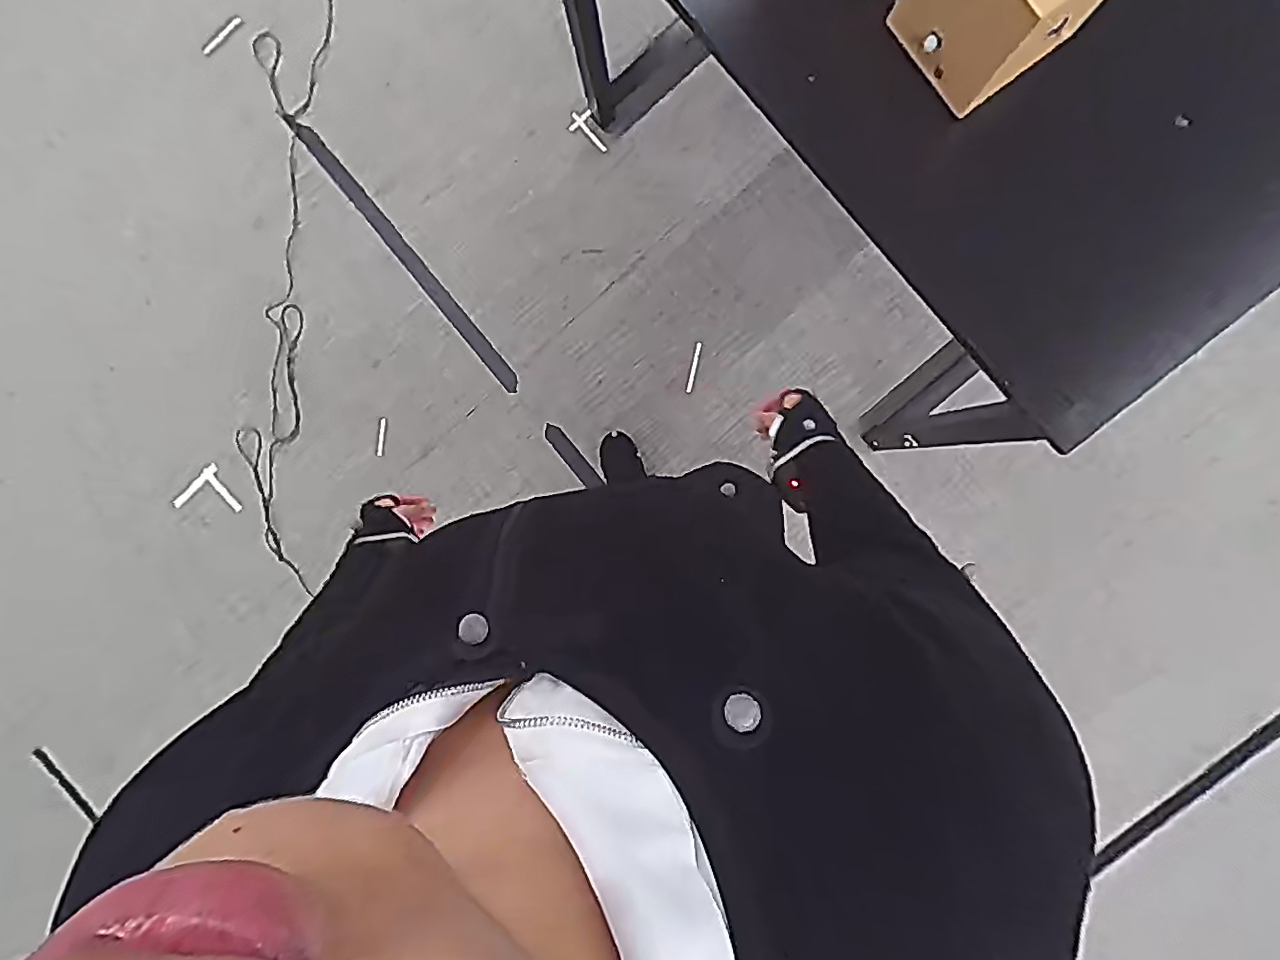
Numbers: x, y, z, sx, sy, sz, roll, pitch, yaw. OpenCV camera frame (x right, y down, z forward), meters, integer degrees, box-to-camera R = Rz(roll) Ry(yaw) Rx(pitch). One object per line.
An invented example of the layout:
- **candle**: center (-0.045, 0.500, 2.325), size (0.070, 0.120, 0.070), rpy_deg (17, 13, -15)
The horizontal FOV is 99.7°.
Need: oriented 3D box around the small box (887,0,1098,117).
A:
- **small box**: center (0.437, -0.593, 0.642), size (0.179, 0.176, 0.168), rpy_deg (-36, 90, 4)
